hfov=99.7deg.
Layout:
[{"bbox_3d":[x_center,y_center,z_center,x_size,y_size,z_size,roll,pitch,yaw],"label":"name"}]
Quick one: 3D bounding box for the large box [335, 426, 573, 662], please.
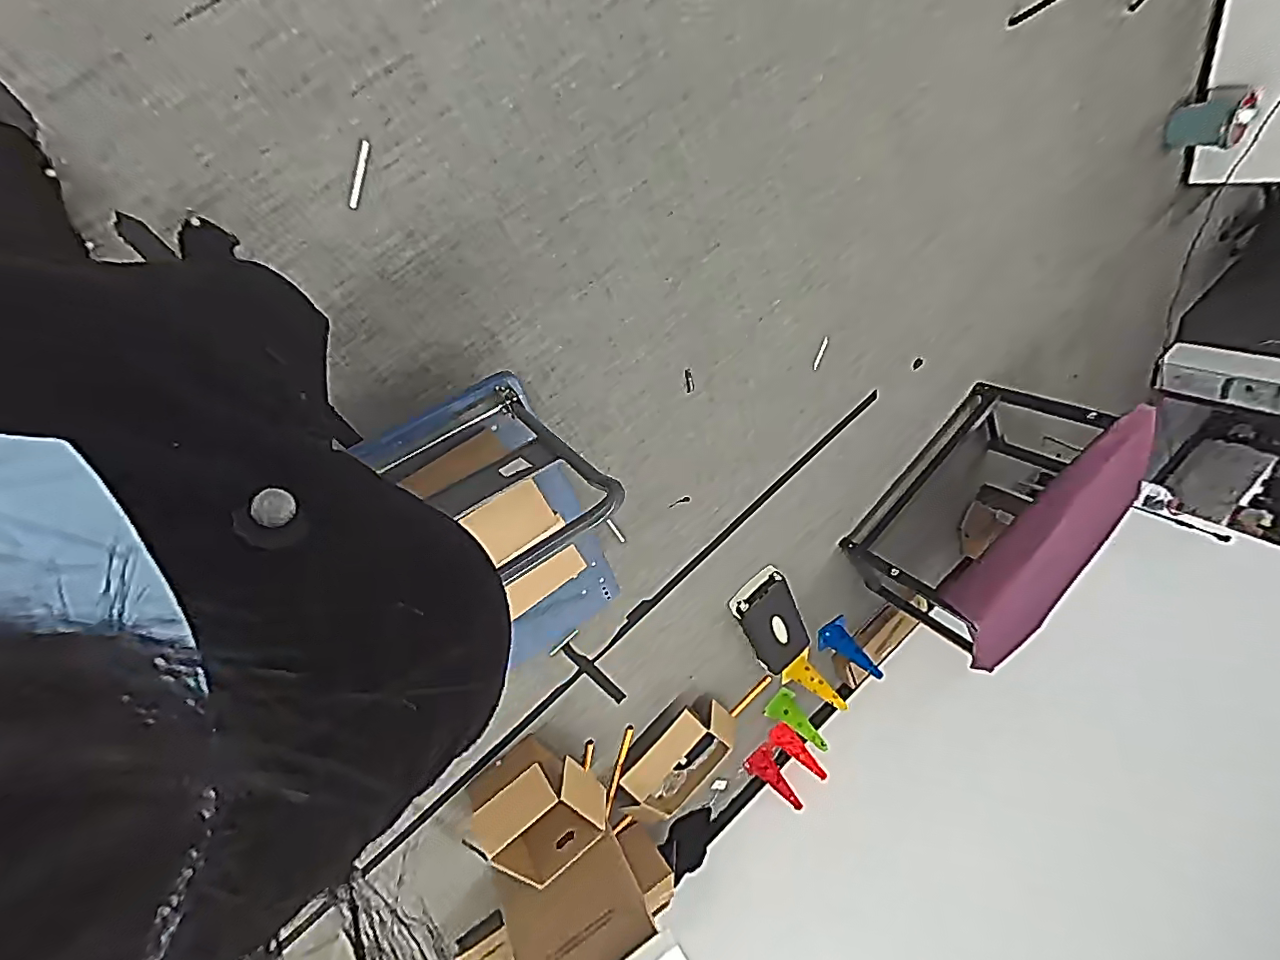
[{"bbox_3d":[-0.442,0.137,1.298,0.408,0.320,0.320,-35,128,-13],"label":"large box"}]
